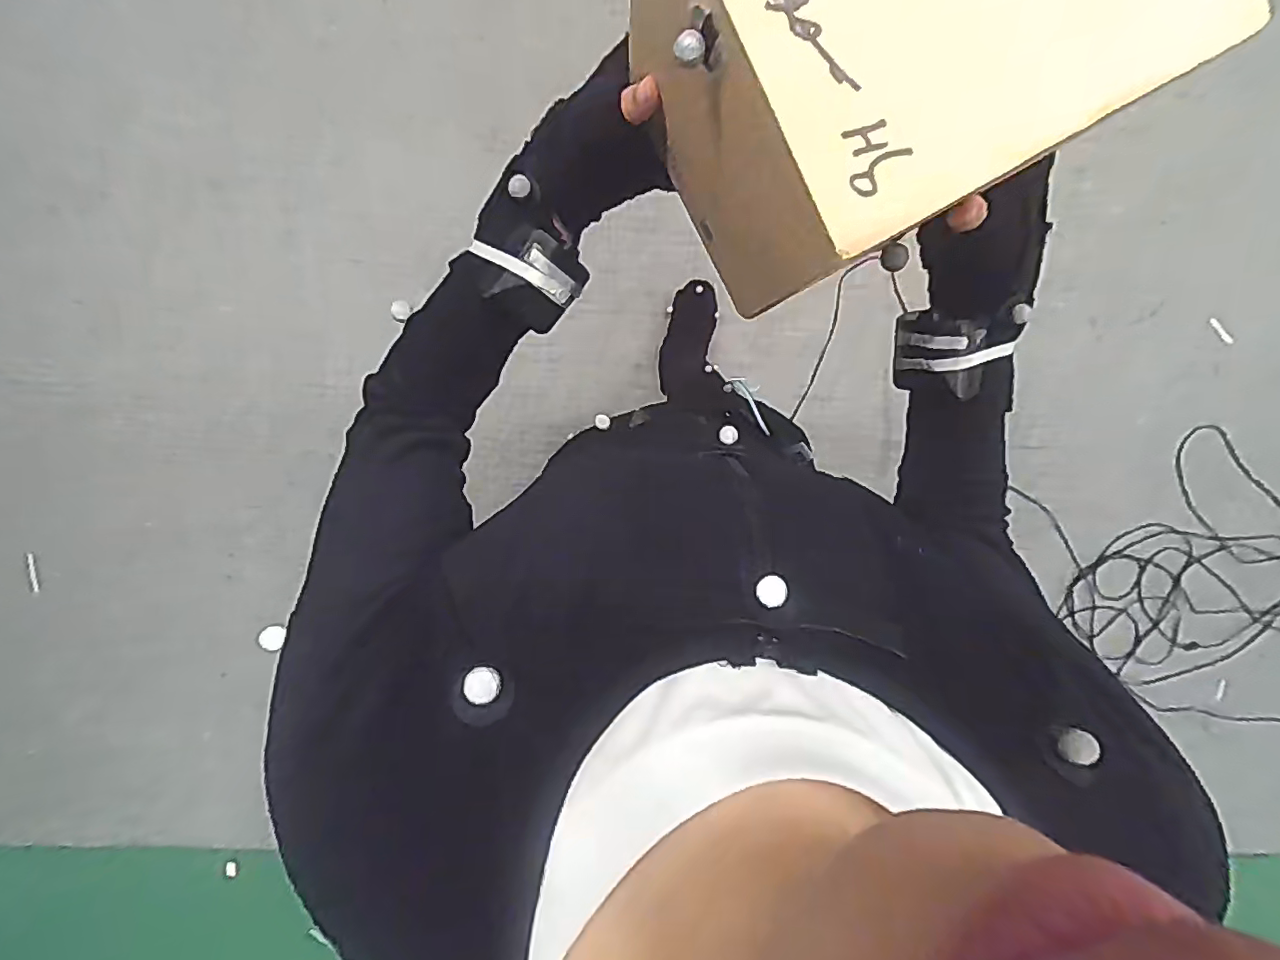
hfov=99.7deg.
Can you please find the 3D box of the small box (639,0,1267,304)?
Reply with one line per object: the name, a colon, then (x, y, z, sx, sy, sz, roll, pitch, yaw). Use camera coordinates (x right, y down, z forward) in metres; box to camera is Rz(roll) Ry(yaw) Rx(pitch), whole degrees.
small box: (0.111, -0.209, 0.264, 0.179, 0.176, 0.168, -28, 99, 2)
